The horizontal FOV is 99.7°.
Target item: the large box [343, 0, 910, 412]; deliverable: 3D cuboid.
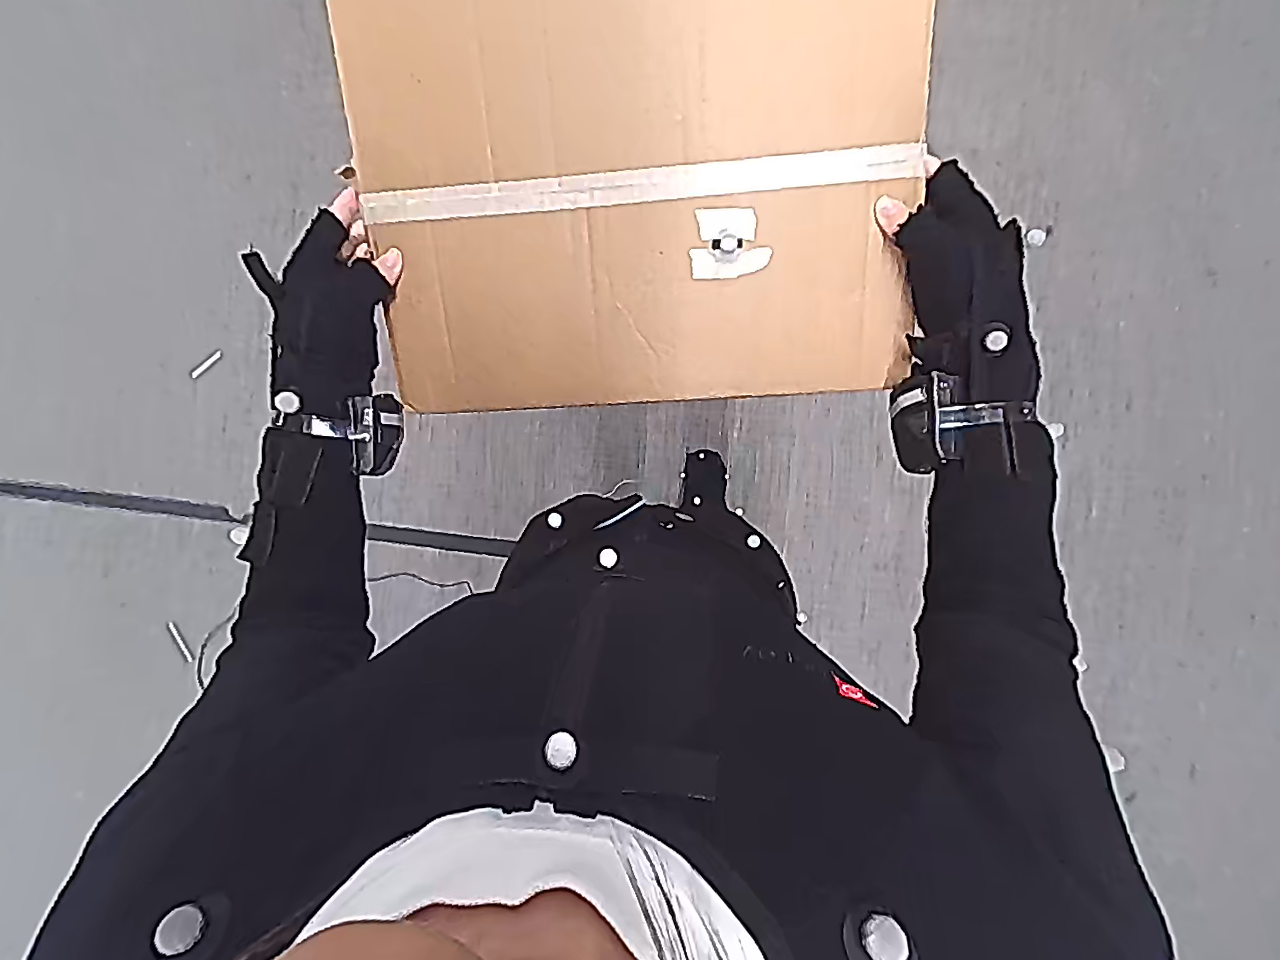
[{"bbox_3d":[0.002,-0.259,0.551,0.408,0.320,0.320,-4,106,4],"label":"large box"}]
